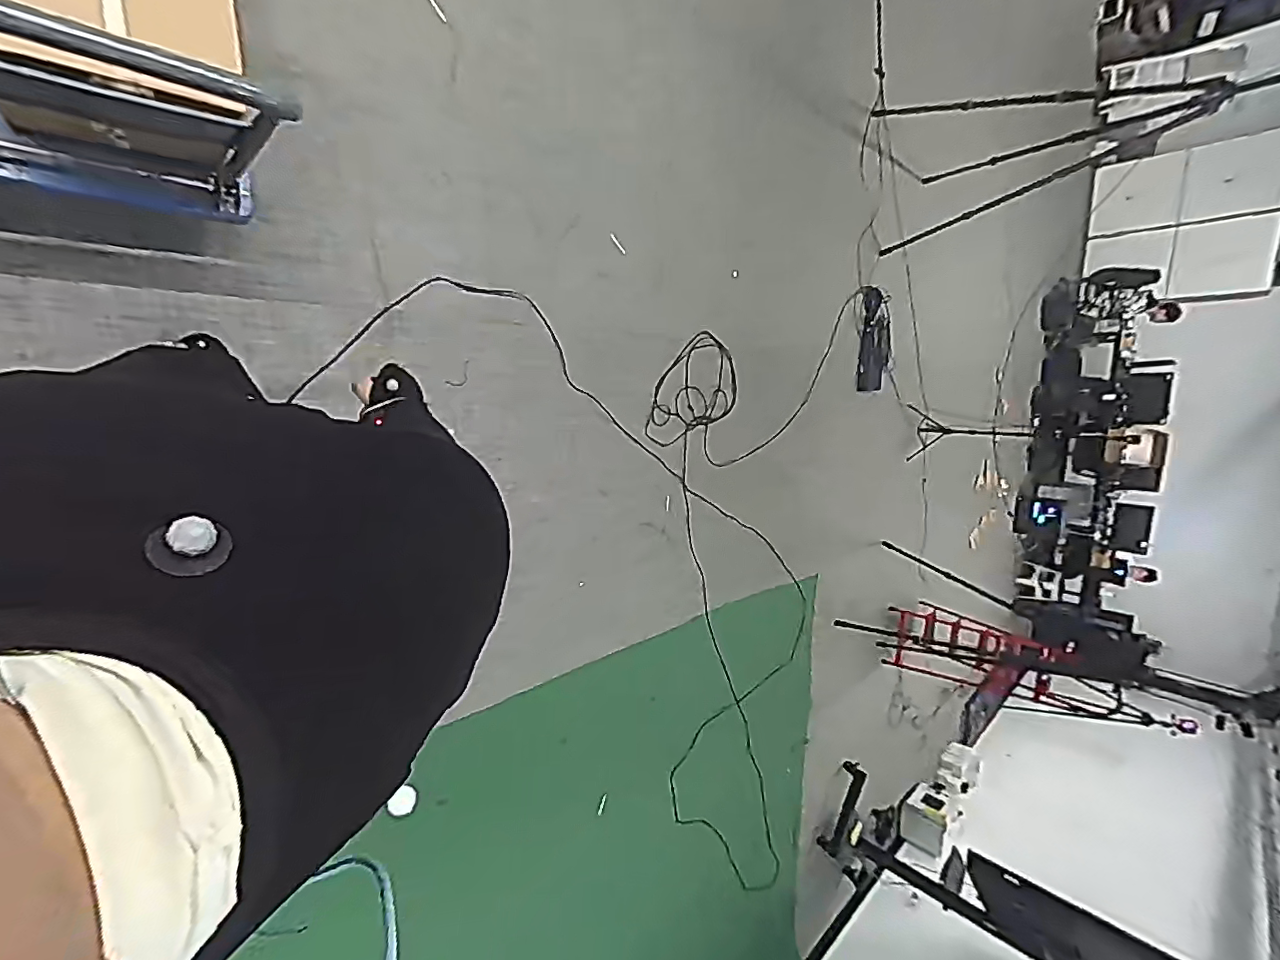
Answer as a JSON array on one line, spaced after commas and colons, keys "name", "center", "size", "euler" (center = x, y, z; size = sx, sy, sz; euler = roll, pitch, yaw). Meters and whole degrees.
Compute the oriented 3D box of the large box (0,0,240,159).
[{"name": "large box", "center": [-0.889, -0.812, 0.876], "size": [0.320, 0.320, 0.408], "euler": [-11, 104, -42]}]
